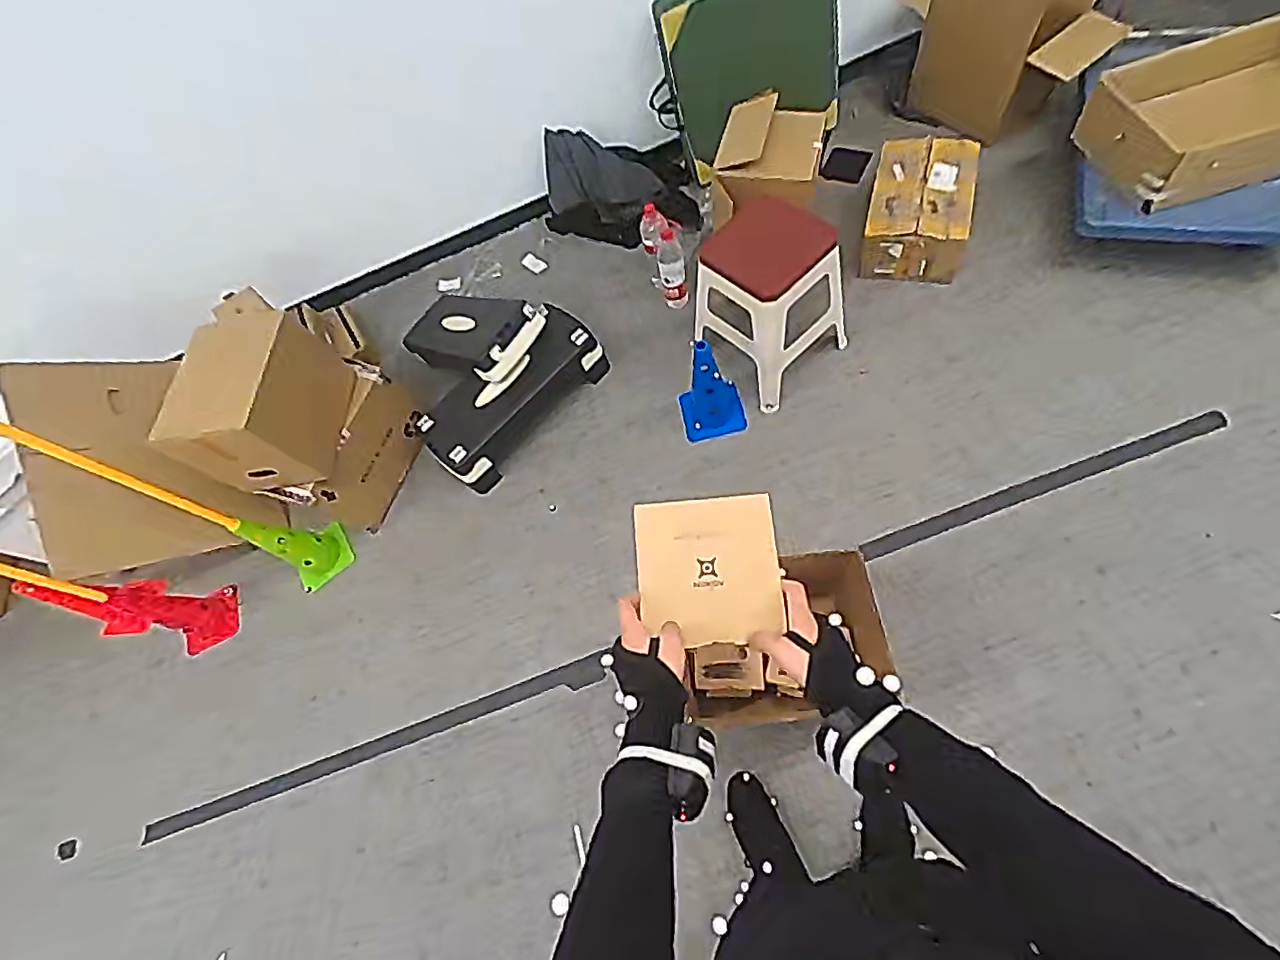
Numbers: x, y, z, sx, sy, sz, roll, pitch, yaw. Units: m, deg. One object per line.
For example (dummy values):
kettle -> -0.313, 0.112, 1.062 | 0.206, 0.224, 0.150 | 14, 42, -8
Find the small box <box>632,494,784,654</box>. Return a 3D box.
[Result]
small box -> 0.083, 0.127, 0.704 | 0.168, 0.176, 0.179 | -5, 73, 3
